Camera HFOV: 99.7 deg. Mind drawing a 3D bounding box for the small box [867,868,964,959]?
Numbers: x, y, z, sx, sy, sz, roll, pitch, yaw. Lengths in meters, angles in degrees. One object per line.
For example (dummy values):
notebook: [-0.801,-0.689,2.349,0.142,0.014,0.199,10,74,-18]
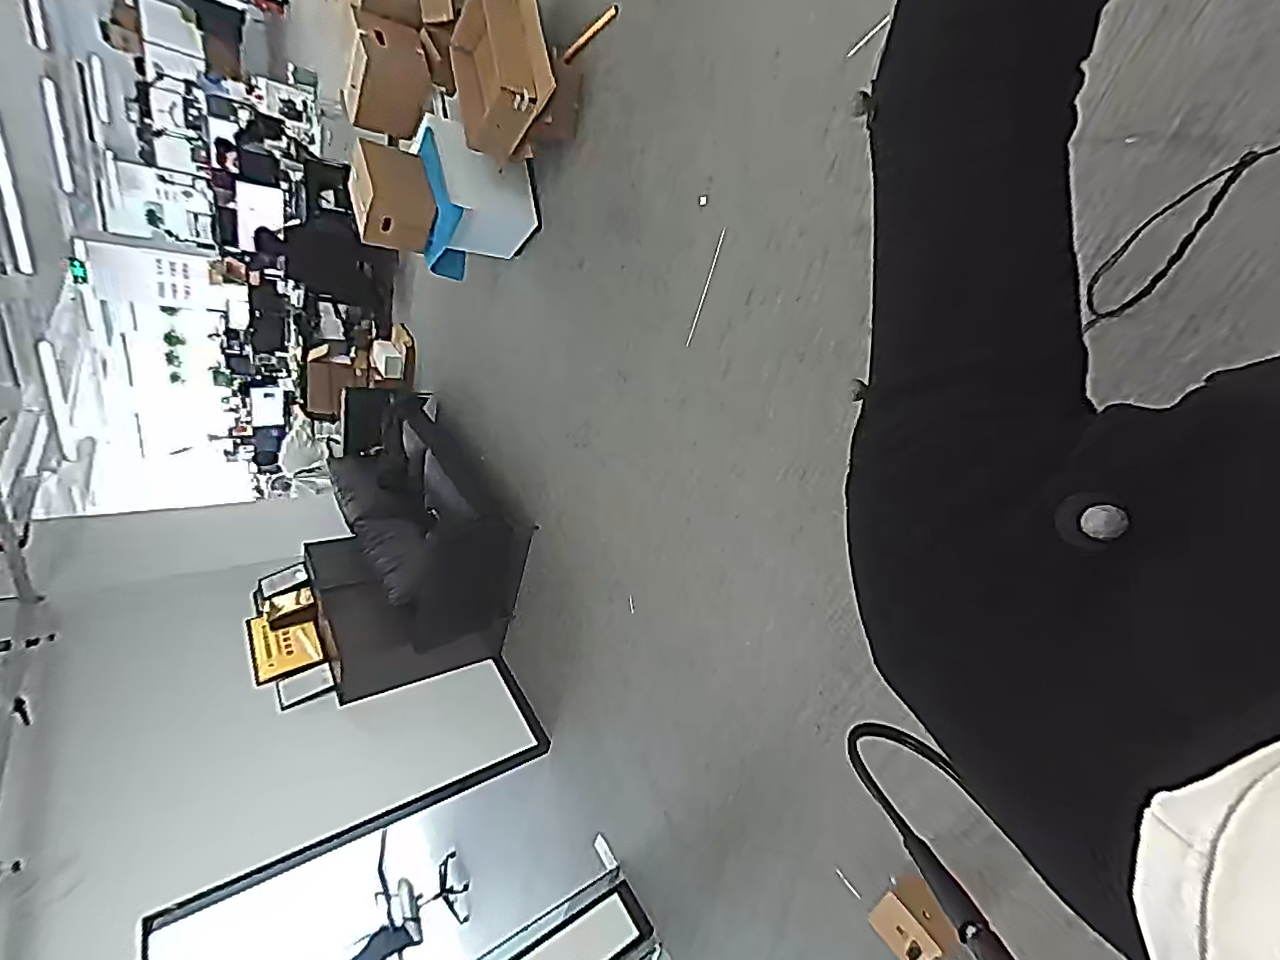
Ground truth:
small box: [0.837,1.337,1.640,0.179,0.176,0.168,43,126,40]
